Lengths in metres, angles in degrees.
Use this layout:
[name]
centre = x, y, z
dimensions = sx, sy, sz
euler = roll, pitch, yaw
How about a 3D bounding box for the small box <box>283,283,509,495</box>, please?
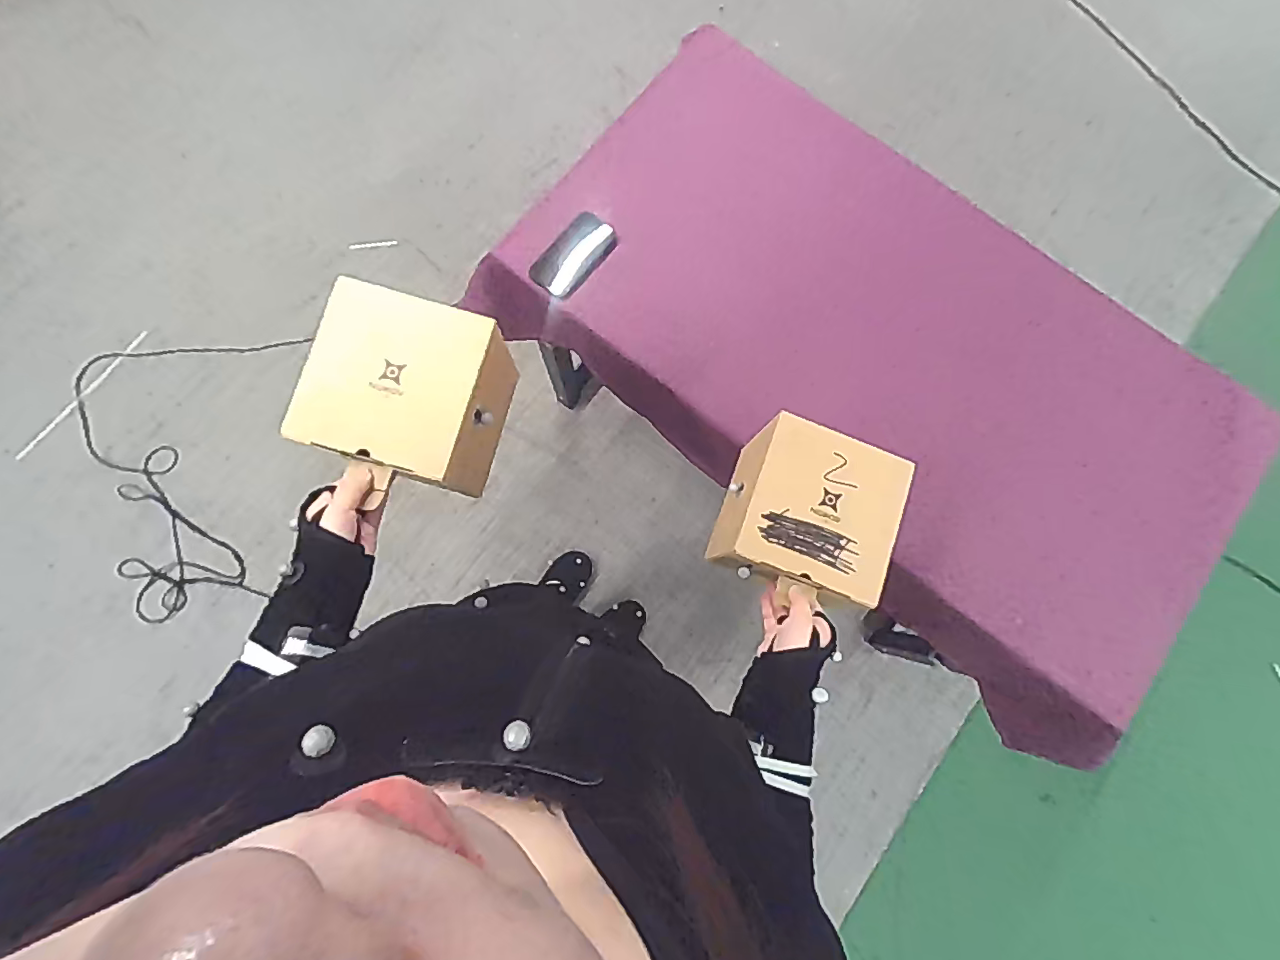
[small box]
centre = -0.260, -0.091, 0.626
dimensions = 0.168, 0.176, 0.179
euler = 15, 83, -2
